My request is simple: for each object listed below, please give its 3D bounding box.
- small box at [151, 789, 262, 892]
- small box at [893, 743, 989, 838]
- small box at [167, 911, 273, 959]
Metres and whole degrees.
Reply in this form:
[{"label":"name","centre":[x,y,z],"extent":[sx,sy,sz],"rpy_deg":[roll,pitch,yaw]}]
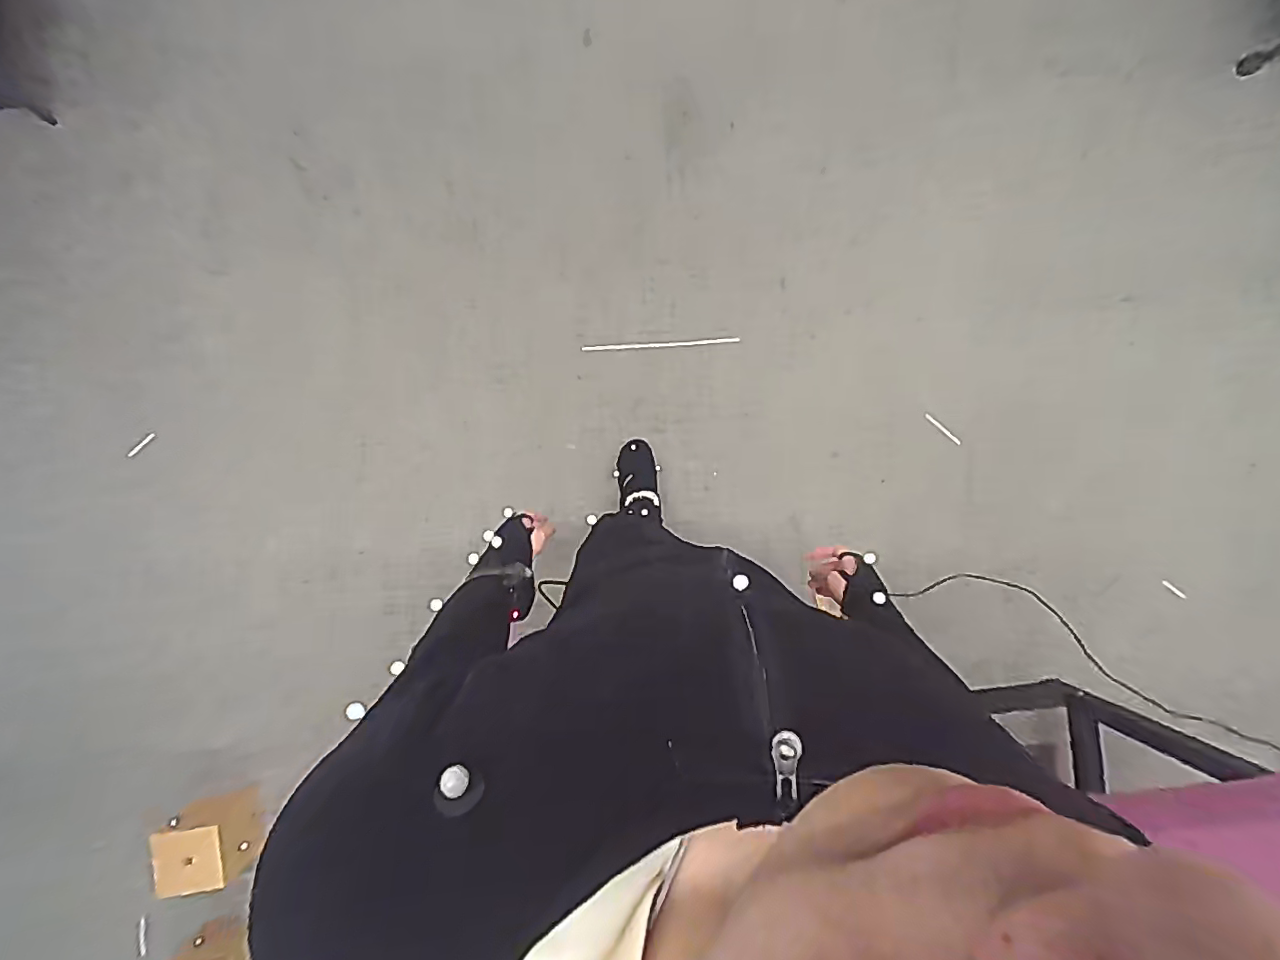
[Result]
[{"label":"small box","centre":[-1.177,0.980,1.485],"extent":[0.179,0.176,0.168],"rpy_deg":[-8,89,-1]},{"label":"small box","centre":[0.847,0.879,1.544],"extent":[0.179,0.176,0.168],"rpy_deg":[-9,89,-2]},{"label":"small box","centre":[-1.147,1.329,1.477],"extent":[0.179,0.176,0.168],"rpy_deg":[-4,89,-2]}]
